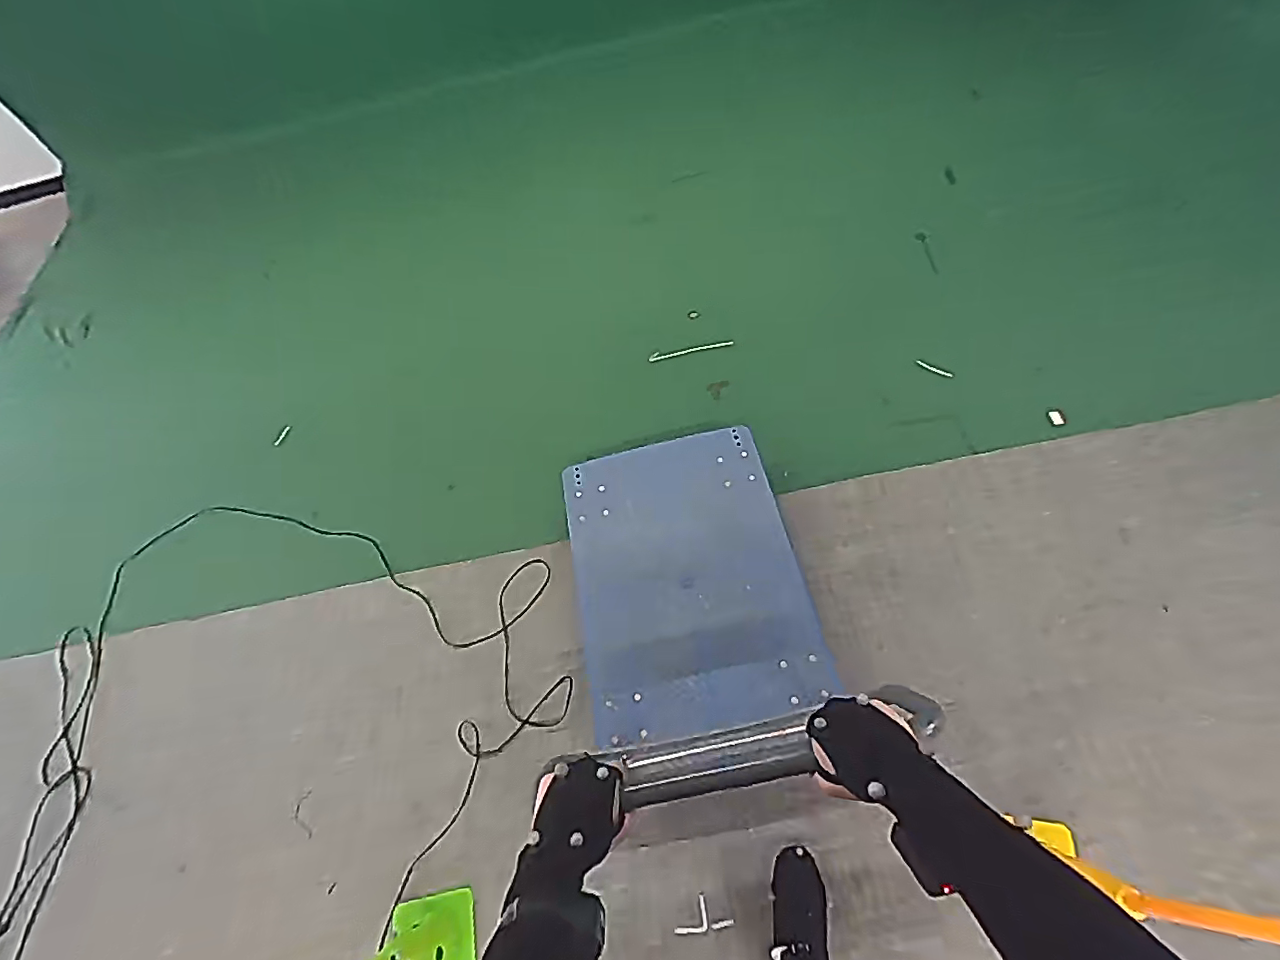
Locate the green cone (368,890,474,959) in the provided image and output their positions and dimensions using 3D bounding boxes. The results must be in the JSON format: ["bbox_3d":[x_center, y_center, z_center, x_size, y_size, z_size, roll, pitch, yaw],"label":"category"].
[{"bbox_3d":[-0.511,1.000,1.098,0.202,0.368,0.200,-16,60,3],"label":"green cone"}]
